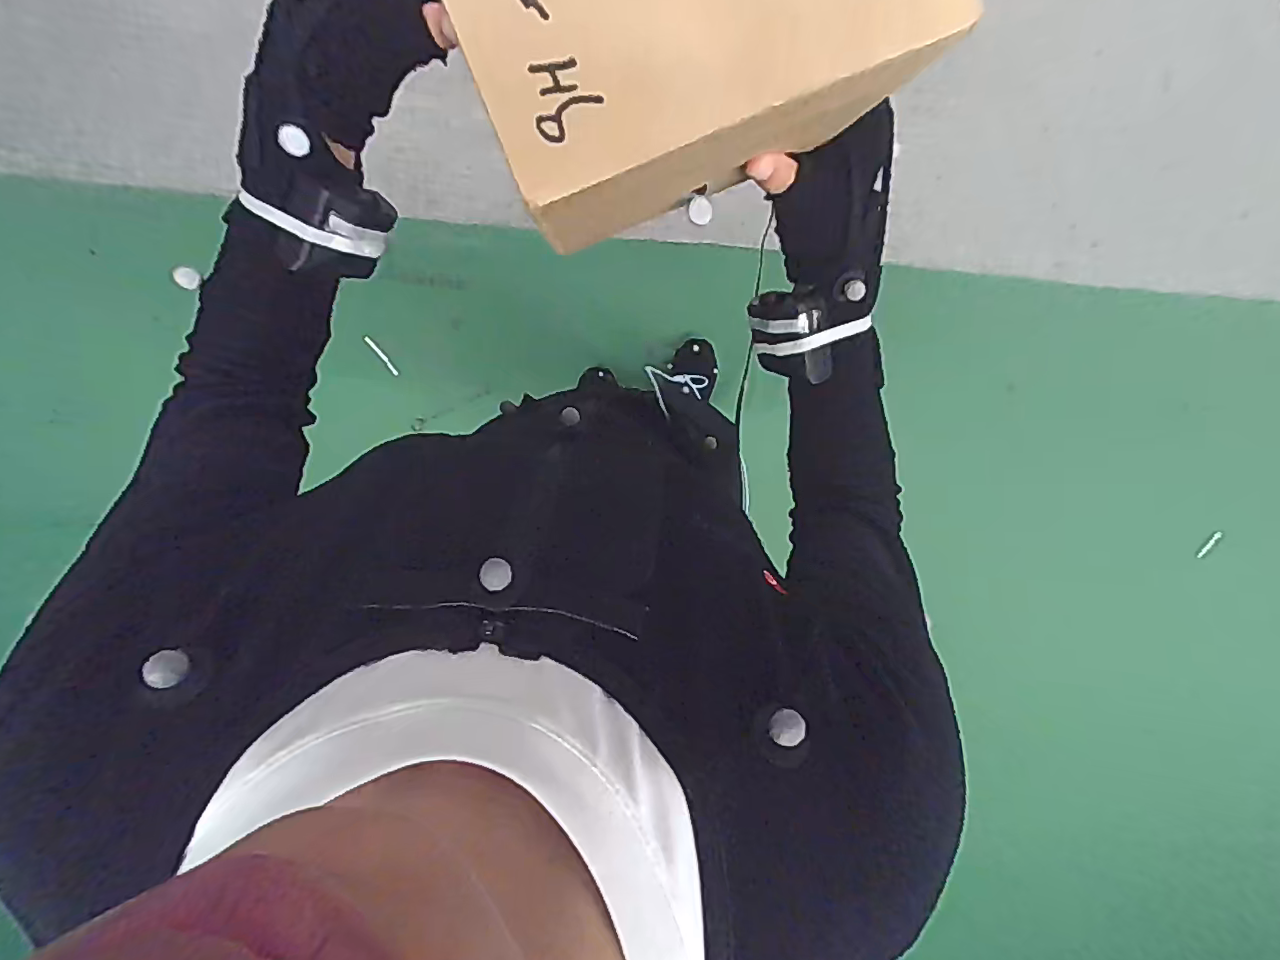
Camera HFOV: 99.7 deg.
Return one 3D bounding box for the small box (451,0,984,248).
[{"bbox_3d":[0.008,-0.221,0.243,0.179,0.176,0.168,-21,108,1],"label":"small box"}]
